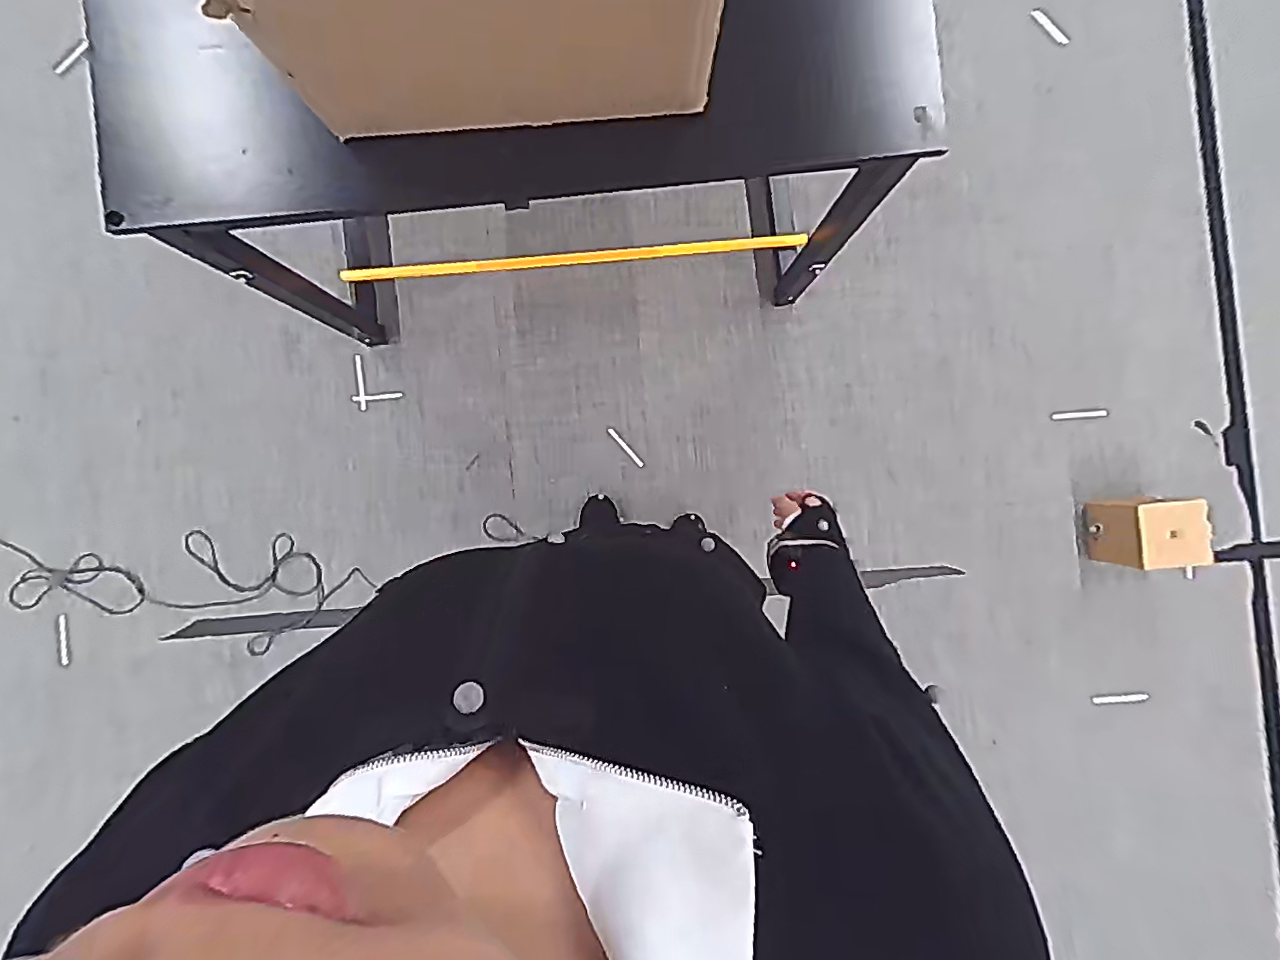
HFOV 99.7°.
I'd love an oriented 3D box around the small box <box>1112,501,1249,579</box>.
[{"bbox_3d":[1.348,0.145,1.358,0.179,0.176,0.168,-7,89,1],"label":"small box"}]
